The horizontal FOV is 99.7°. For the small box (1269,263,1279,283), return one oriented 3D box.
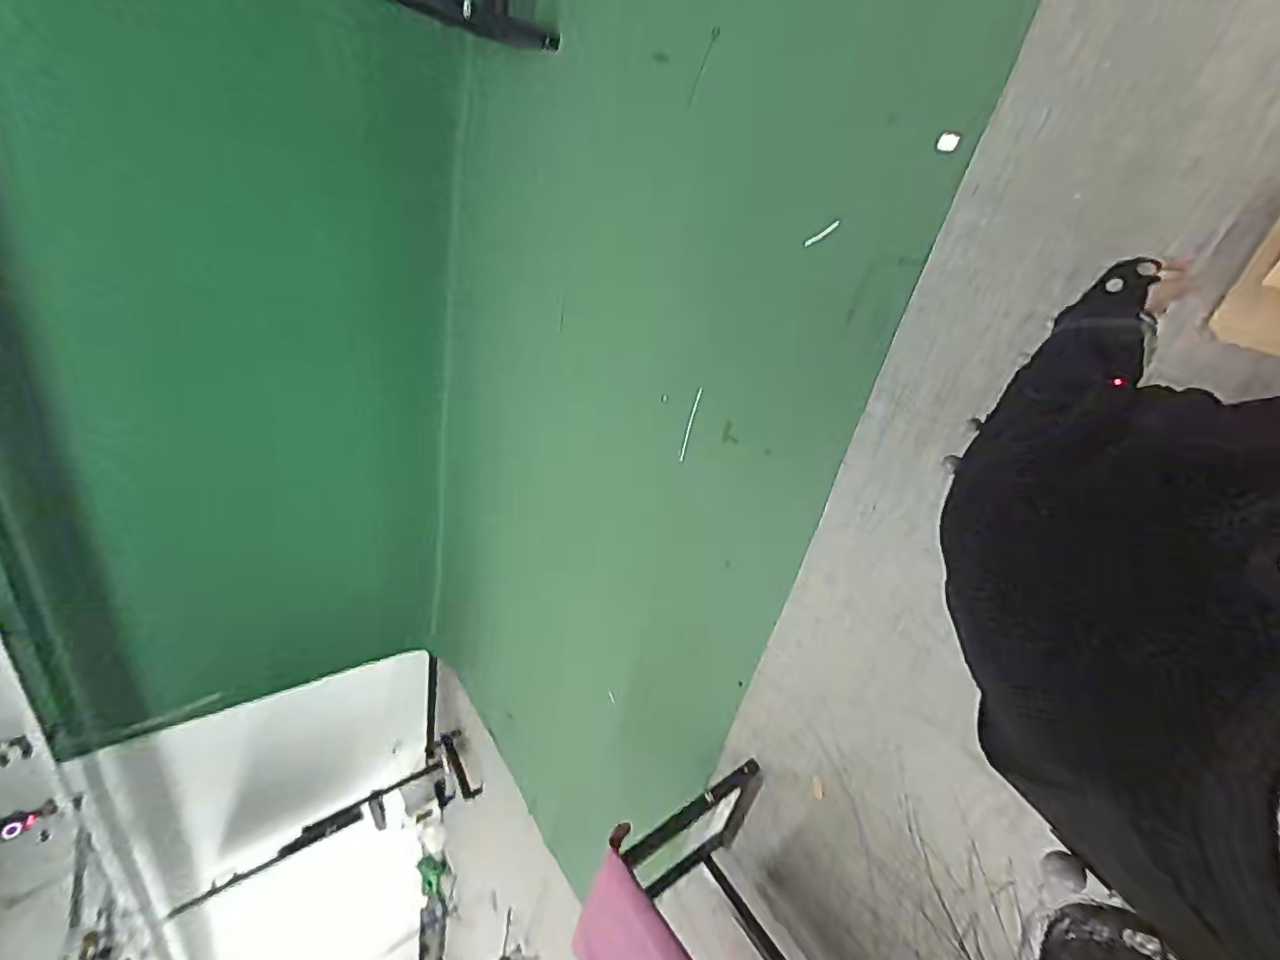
[{"bbox_3d":[1.139,-0.363,0.824,0.168,0.176,0.179,42,128,36],"label":"small box"}]
